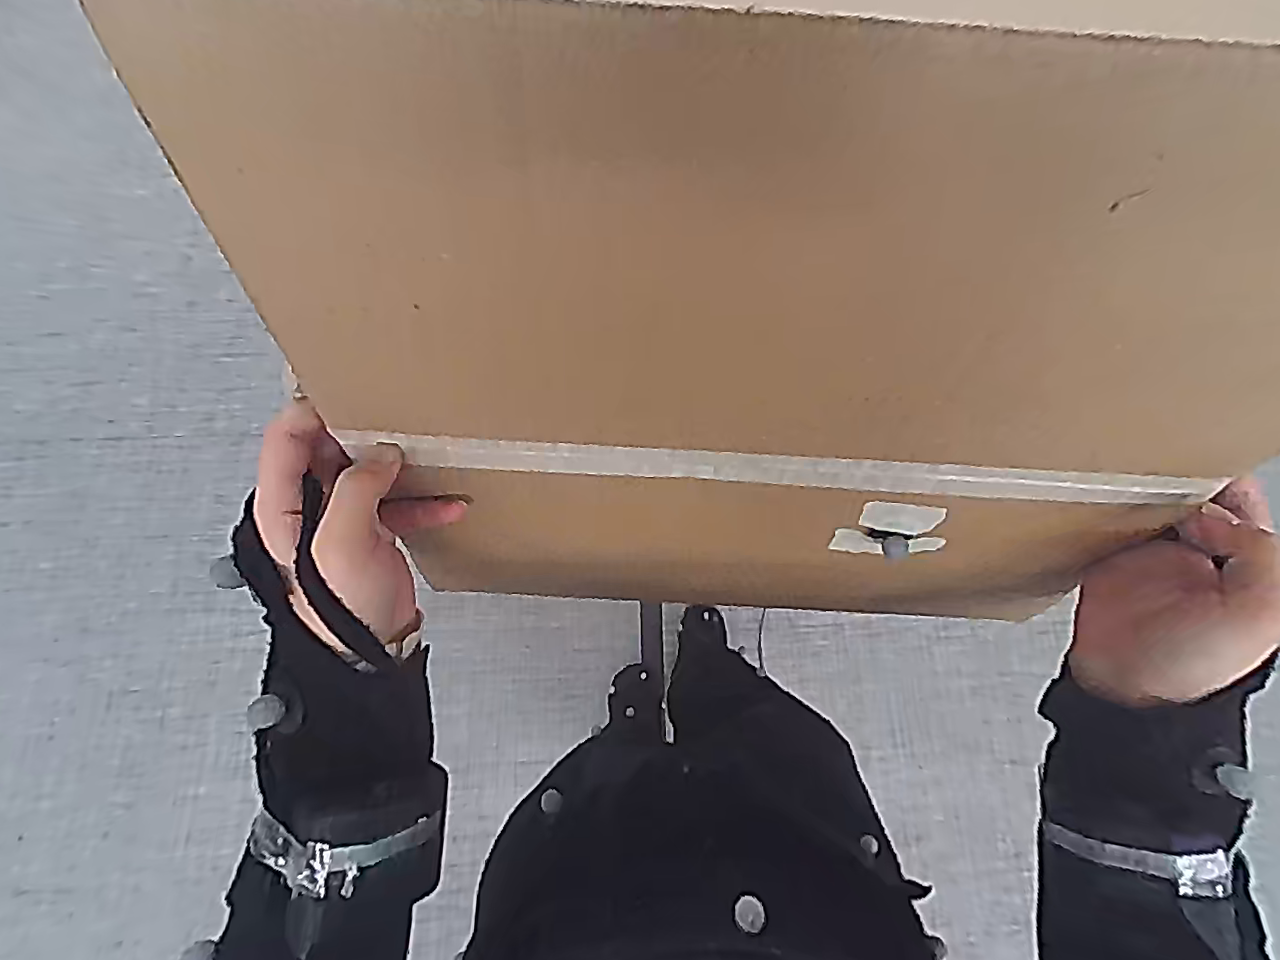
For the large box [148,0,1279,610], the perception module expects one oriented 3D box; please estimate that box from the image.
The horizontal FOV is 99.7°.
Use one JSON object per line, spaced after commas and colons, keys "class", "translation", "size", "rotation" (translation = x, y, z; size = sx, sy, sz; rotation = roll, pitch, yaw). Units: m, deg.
{"class": "large box", "translation": [0.065, -0.127, 0.347], "size": [0.408, 0.320, 0.320], "rotation": [2, 53, -1]}
